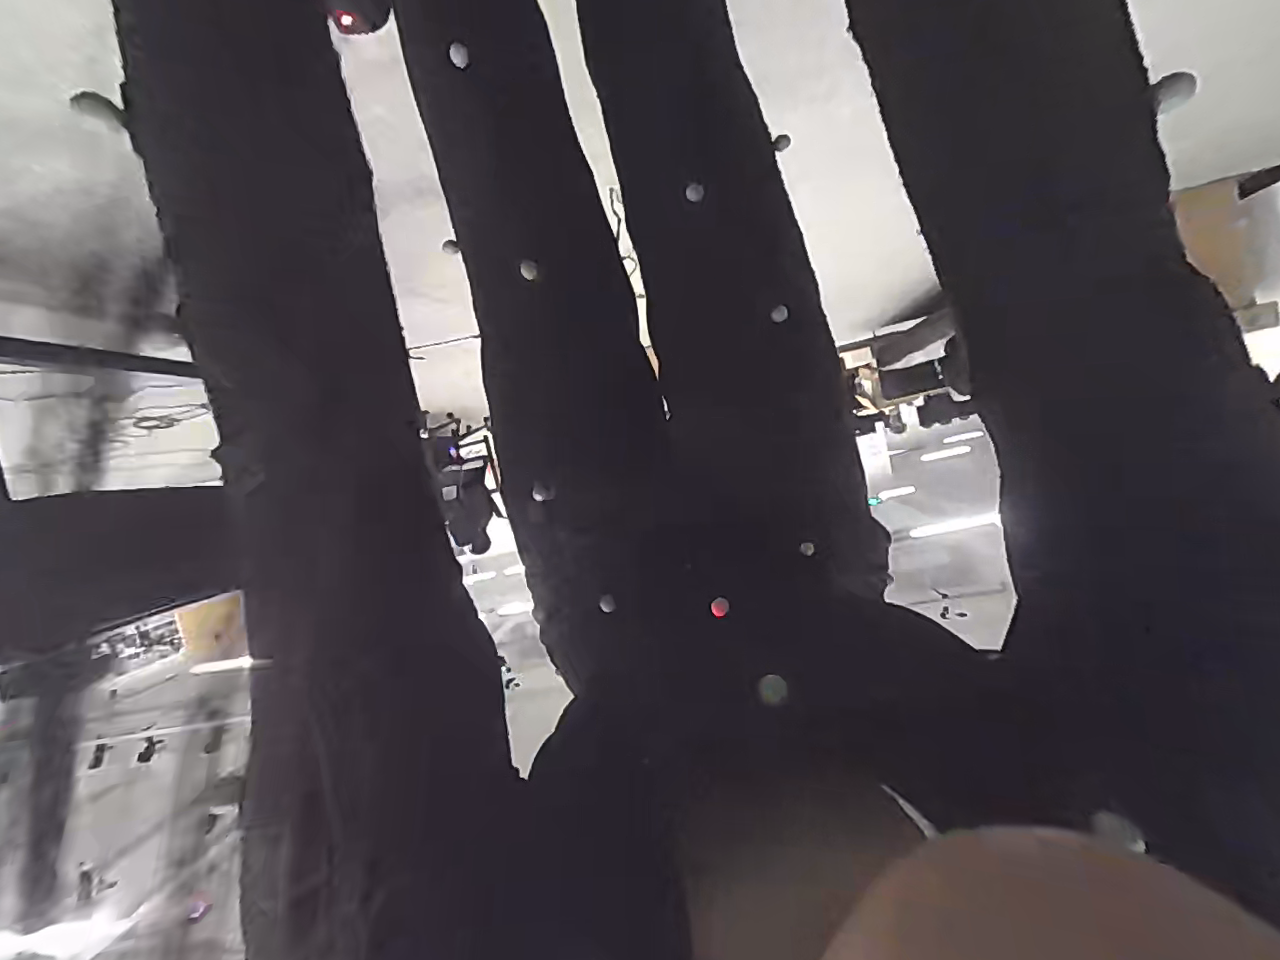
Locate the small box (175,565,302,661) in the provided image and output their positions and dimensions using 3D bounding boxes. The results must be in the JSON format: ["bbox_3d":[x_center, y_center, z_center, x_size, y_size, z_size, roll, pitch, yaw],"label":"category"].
[{"bbox_3d":[-0.960,0.311,1.292,0.179,0.176,0.168,-13,-177,10],"label":"small box"}]
